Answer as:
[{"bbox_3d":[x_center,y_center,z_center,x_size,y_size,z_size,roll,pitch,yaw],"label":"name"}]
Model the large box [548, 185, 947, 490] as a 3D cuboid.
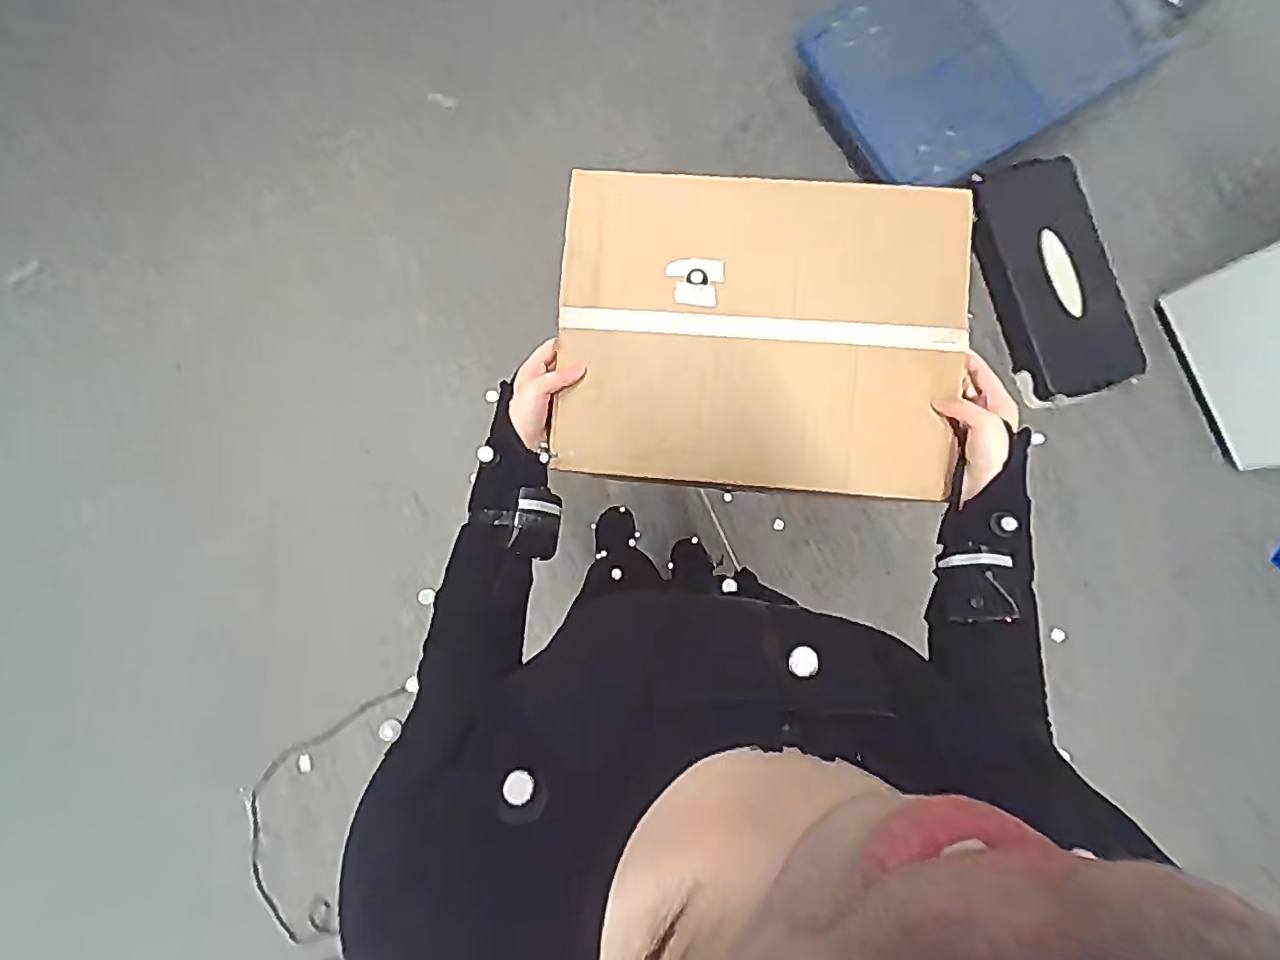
[{"bbox_3d":[0.120,-0.150,0.705,0.408,0.320,0.320,3,88,5],"label":"large box"}]
